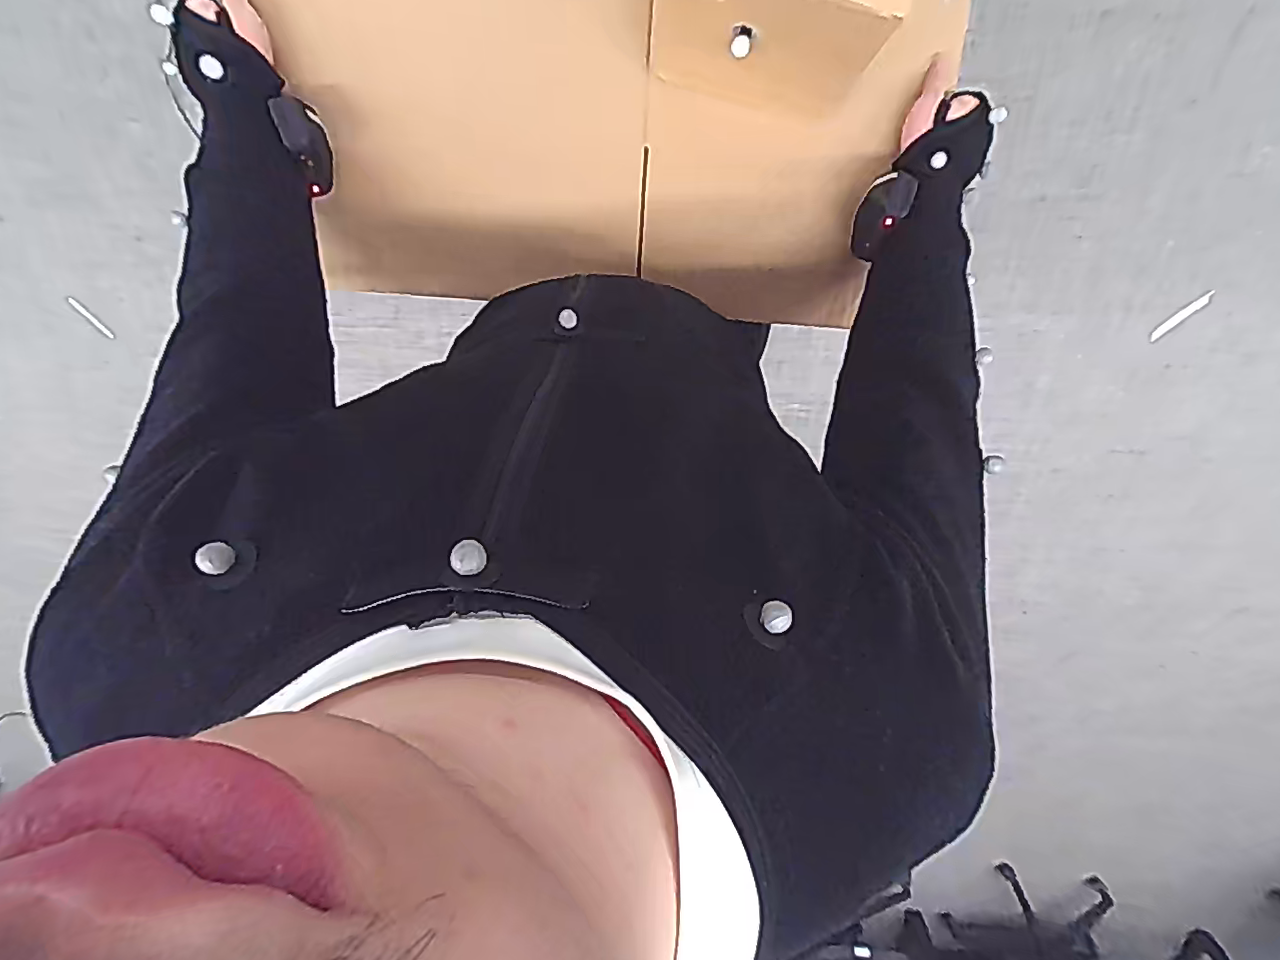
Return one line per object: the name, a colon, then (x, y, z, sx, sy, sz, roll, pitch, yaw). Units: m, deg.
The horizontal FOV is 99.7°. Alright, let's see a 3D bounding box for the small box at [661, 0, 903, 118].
small box: (0.118, -0.434, 0.441, 0.179, 0.176, 0.168, 14, 102, -2)
